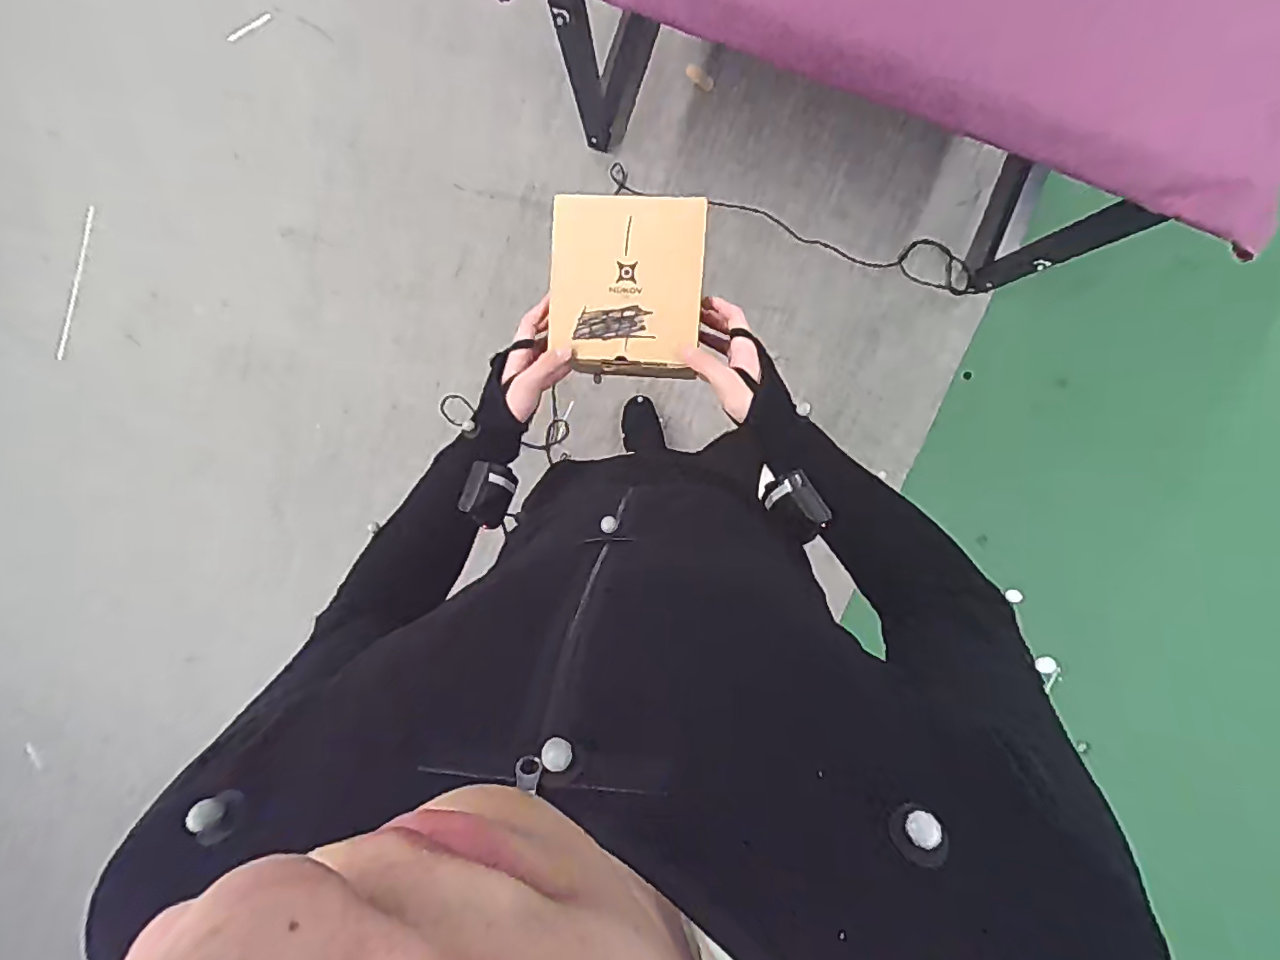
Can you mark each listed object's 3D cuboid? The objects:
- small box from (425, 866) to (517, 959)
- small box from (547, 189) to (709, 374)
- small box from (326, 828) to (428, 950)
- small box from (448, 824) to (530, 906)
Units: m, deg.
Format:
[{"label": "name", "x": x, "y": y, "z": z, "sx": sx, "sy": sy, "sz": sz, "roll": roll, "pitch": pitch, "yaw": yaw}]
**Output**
[{"label": "small box", "x": -0.459, "y": 1.226, "z": 1.487, "sx": 0.168, "sy": 0.176, "sz": 0.179, "roll": 25, "pitch": 97, "yaw": -1}, {"label": "small box", "x": -0.007, "y": -0.224, "z": 0.651, "sx": 0.168, "sy": 0.176, "sz": 0.179, "roll": 4, "pitch": 96, "yaw": 5}, {"label": "small box", "x": -0.713, "y": 1.114, "z": 1.484, "sx": 0.168, "sy": 0.176, "sz": 0.179, "roll": 24, "pitch": 96, "yaw": -1}, {"label": "small box", "x": -0.453, "y": 1.208, "z": 1.649, "sx": 0.168, "sy": 0.176, "sz": 0.179, "roll": 25, "pitch": 98, "yaw": -1}]
